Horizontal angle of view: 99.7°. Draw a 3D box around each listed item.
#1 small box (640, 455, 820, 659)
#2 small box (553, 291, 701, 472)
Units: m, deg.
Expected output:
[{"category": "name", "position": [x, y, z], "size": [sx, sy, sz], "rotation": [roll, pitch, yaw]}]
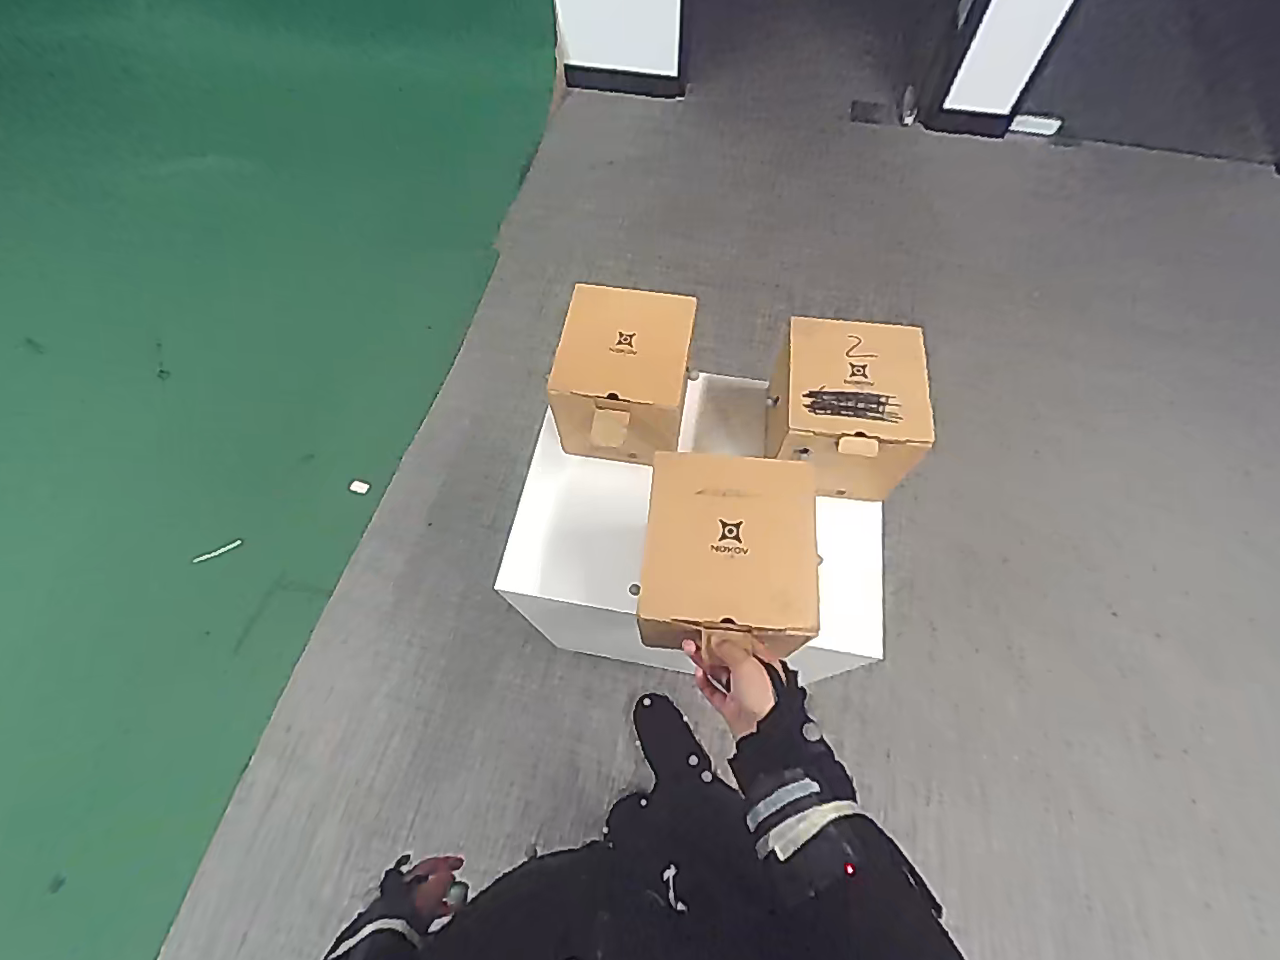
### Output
[{"category": "small box", "position": [0.092, 0.092, 0.594], "size": [0.168, 0.176, 0.179], "rotation": [4, 63, 4]}, {"category": "small box", "position": [-0.014, -0.132, 0.759], "size": [0.168, 0.176, 0.179], "rotation": [8, 66, 4]}]
